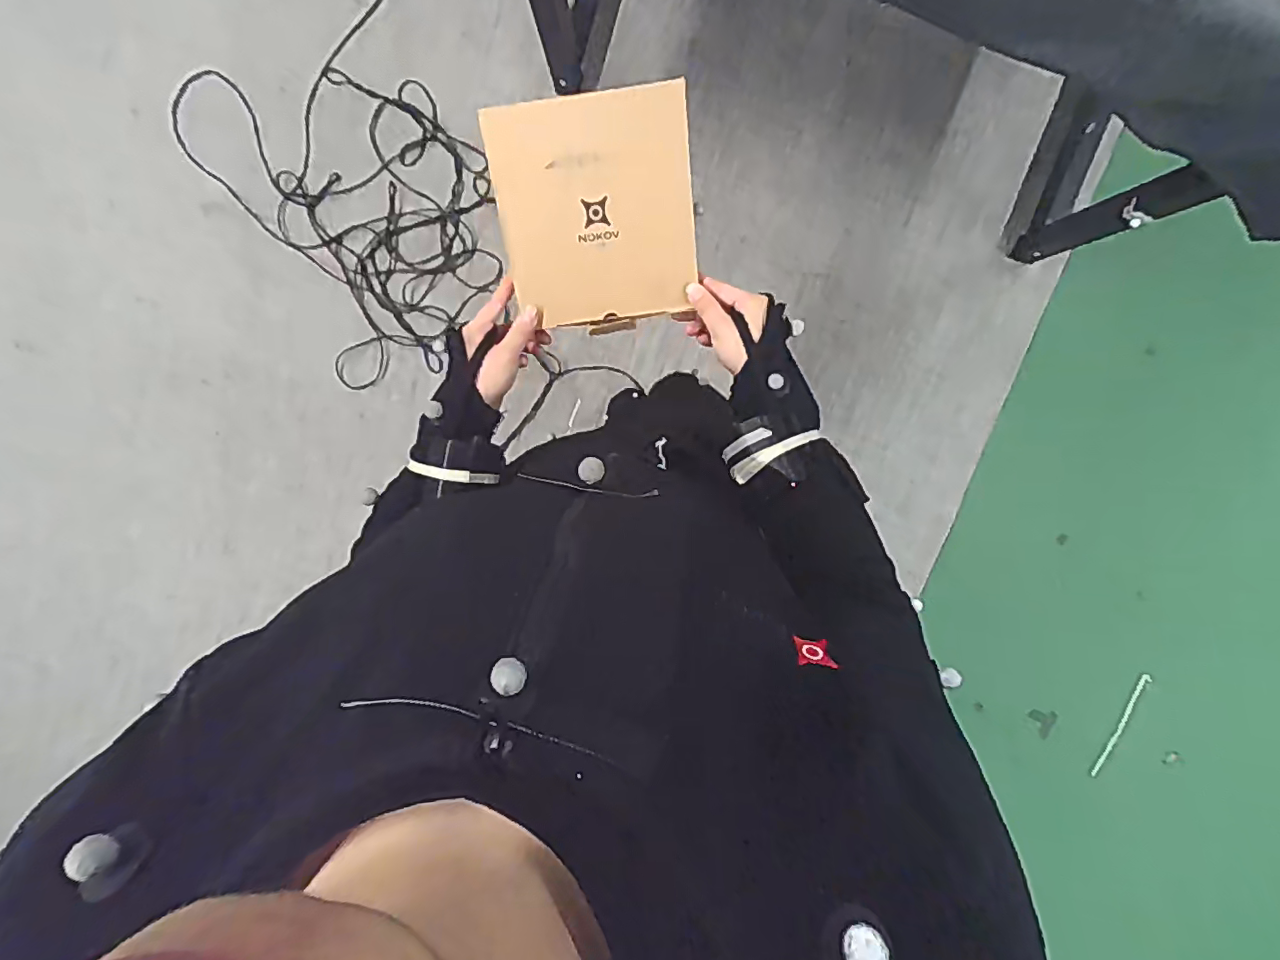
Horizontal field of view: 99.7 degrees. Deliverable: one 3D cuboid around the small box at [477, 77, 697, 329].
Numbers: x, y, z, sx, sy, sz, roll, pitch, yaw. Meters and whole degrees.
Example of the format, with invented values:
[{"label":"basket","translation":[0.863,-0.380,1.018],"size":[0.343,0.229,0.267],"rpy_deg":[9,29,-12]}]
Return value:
[{"label":"small box","translation":[-0.037,-0.259,0.524],"size":[0.168,0.176,0.179],"rpy_deg":[-7,116,2]}]
